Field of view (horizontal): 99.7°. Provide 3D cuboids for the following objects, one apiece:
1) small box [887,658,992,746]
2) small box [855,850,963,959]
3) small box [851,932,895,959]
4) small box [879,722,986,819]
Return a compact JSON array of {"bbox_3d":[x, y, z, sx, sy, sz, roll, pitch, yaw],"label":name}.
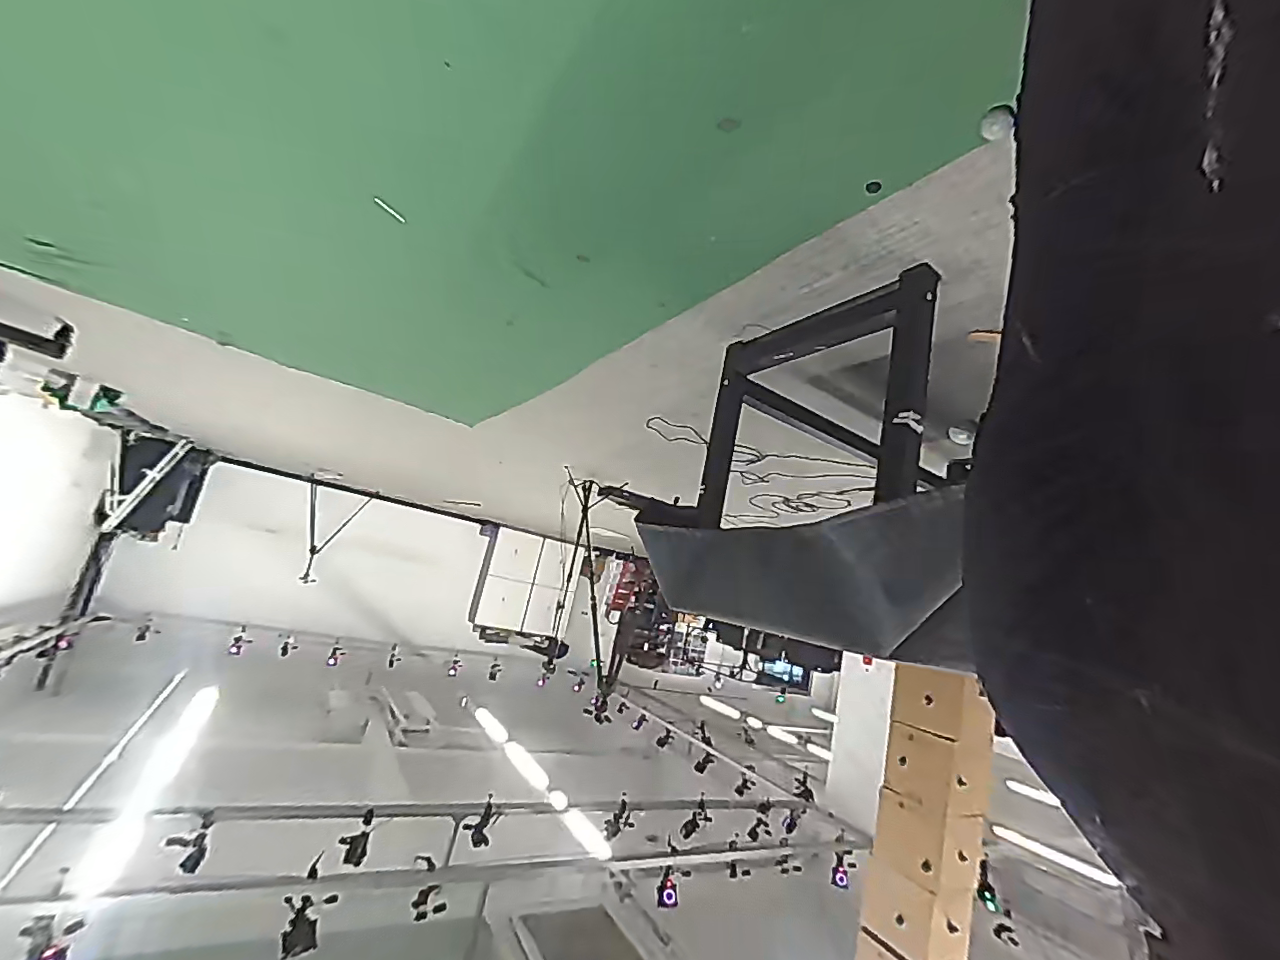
[{"bbox_3d":[0.758,0.553,1.367,0.168,0.176,0.179,19,166,-30],"label":"small box"},{"bbox_3d":[0.646,1.024,1.294,0.168,0.176,0.179,19,167,-29],"label":"small box"},{"bbox_3d":[0.609,1.182,1.258,0.179,0.176,0.168,18,168,-30],"label":"small box"},{"bbox_3d":[0.725,0.710,1.339,0.179,0.176,0.168,19,168,-28],"label":"small box"}]
